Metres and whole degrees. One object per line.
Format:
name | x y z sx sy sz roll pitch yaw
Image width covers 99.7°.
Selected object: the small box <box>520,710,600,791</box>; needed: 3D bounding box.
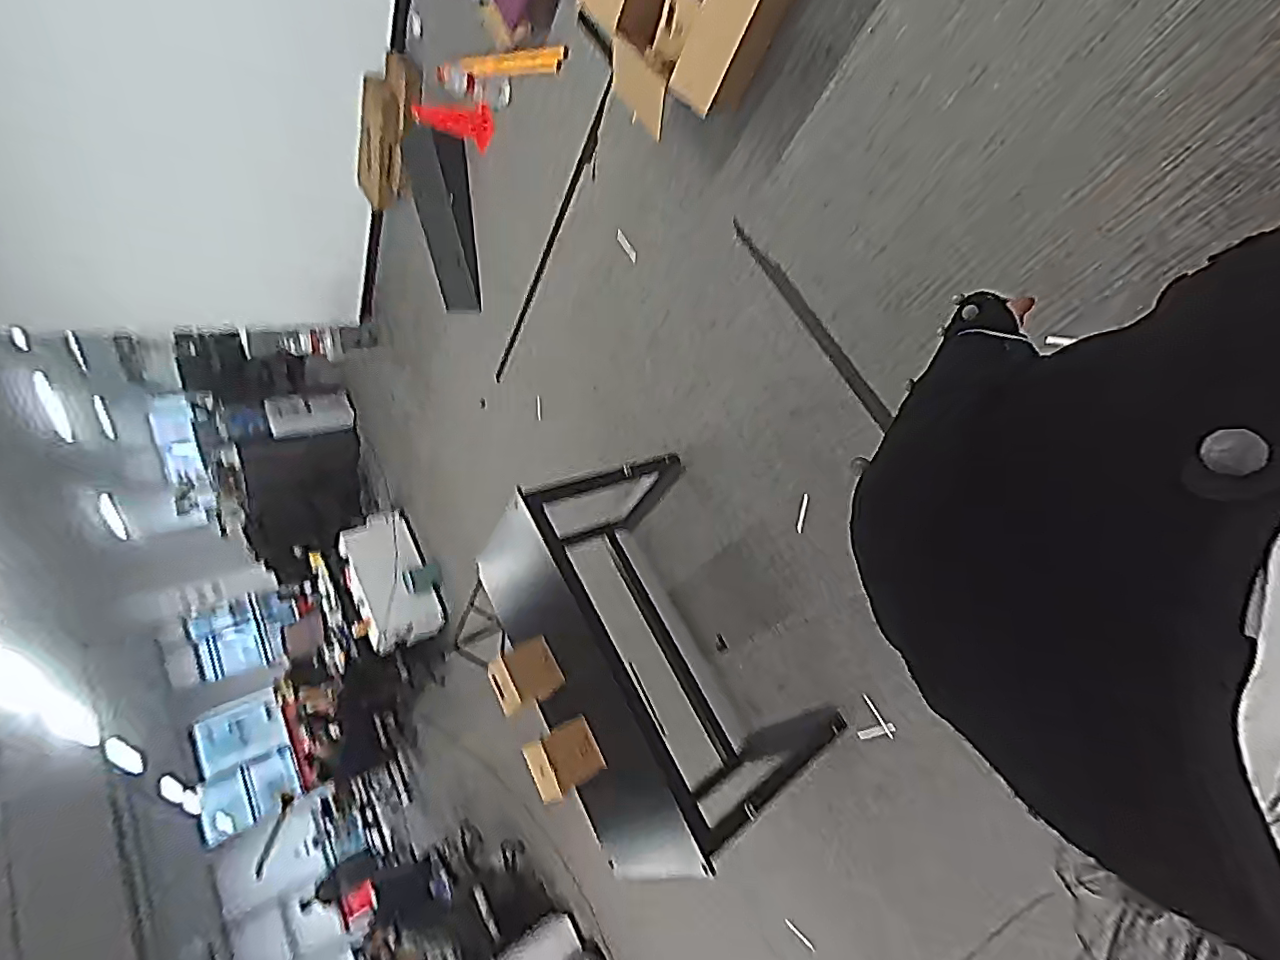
small box | -0.256 0.866 1.735 0.168 0.176 0.179 61 139 17
